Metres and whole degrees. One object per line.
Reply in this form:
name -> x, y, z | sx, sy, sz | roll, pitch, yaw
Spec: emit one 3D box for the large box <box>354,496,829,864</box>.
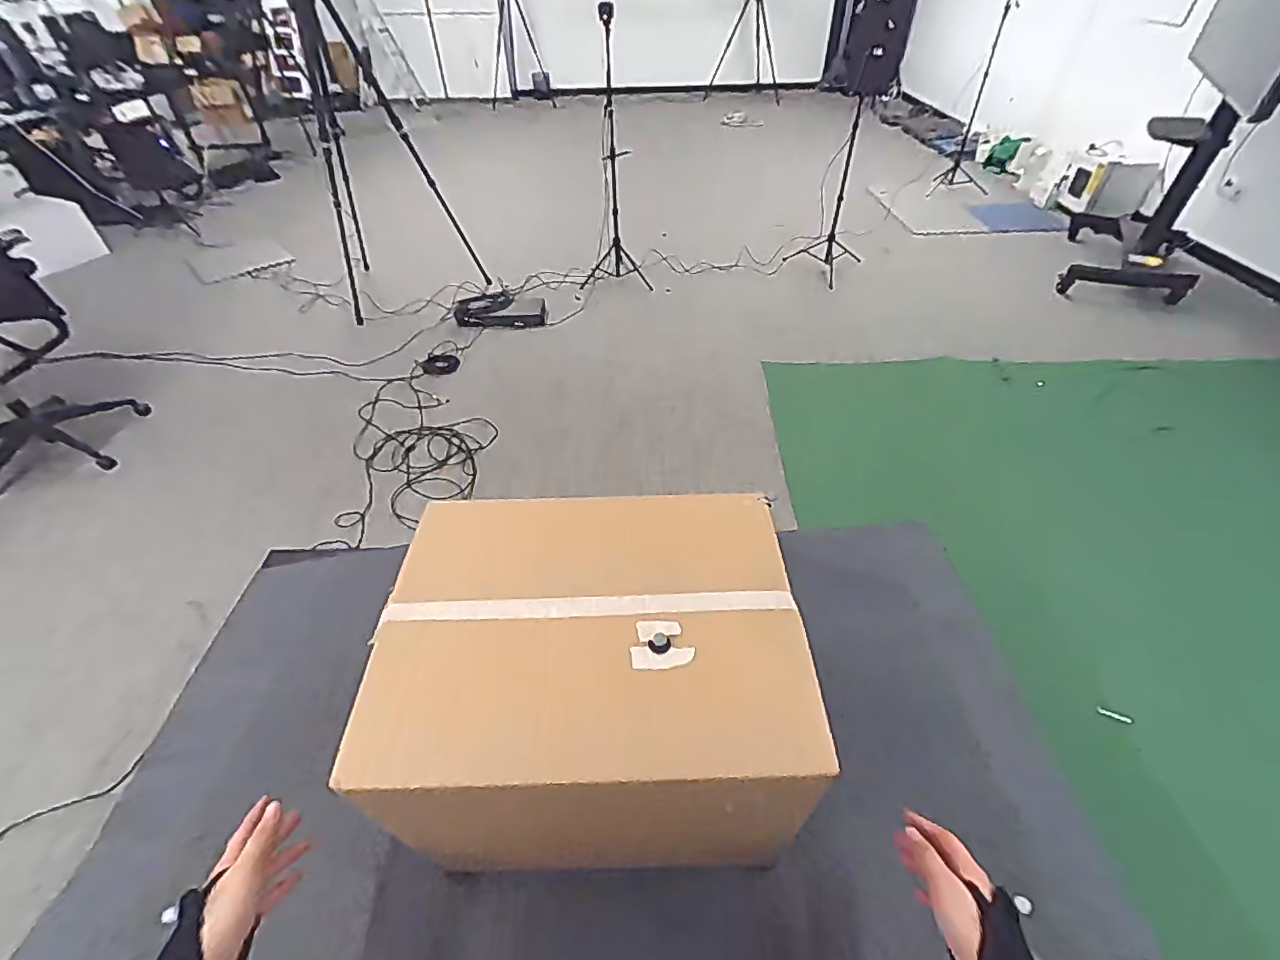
large box -> -0.044, 0.239, 0.653 | 0.408, 0.320, 0.320 | -1, 45, -1
